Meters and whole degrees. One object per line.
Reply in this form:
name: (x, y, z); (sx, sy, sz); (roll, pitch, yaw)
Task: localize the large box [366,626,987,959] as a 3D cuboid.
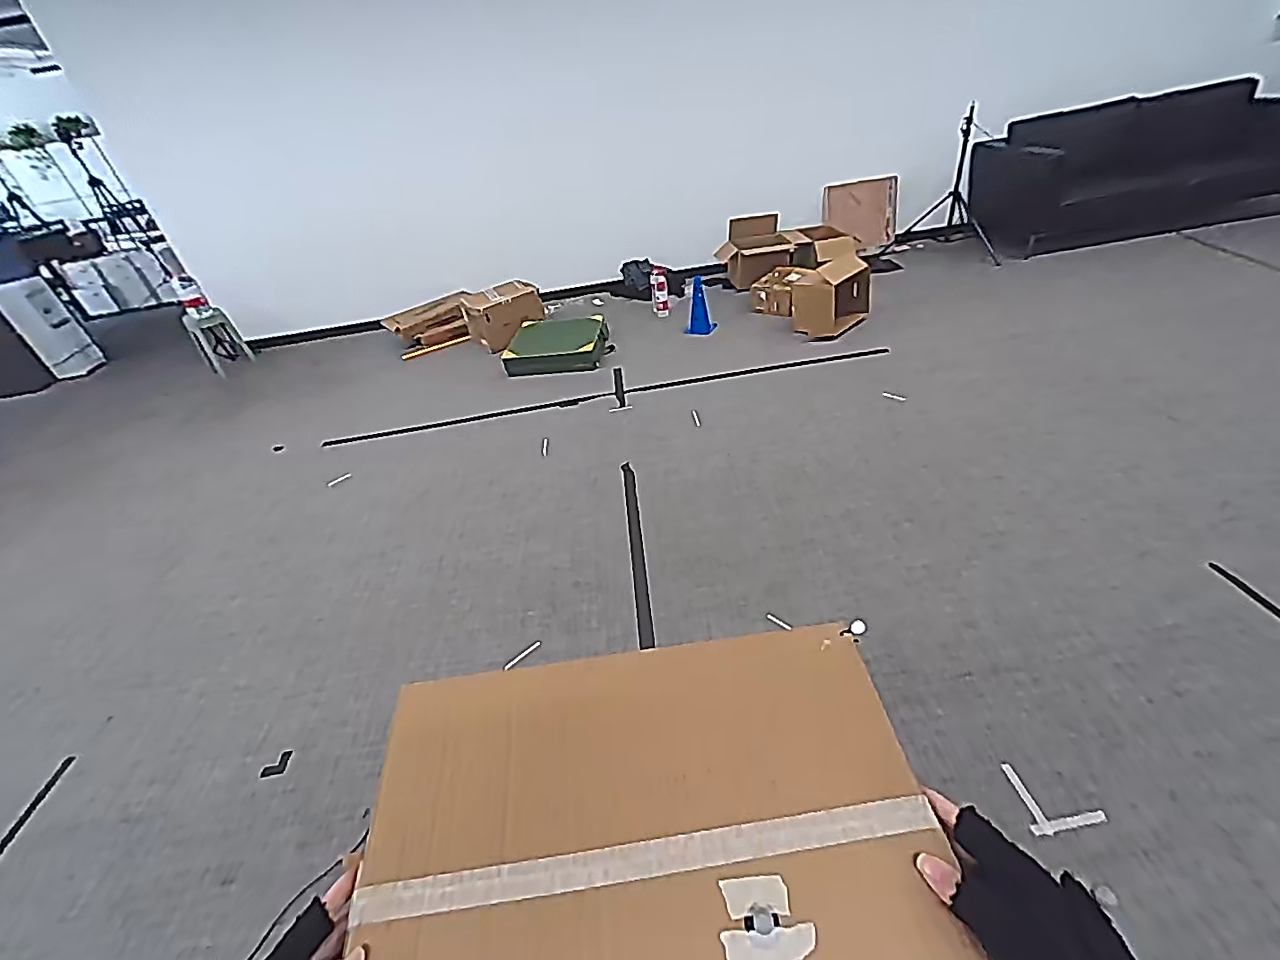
large box: (0.018, 0.375, 0.493); (0.408, 0.320, 0.320); (-7, 45, -3)
